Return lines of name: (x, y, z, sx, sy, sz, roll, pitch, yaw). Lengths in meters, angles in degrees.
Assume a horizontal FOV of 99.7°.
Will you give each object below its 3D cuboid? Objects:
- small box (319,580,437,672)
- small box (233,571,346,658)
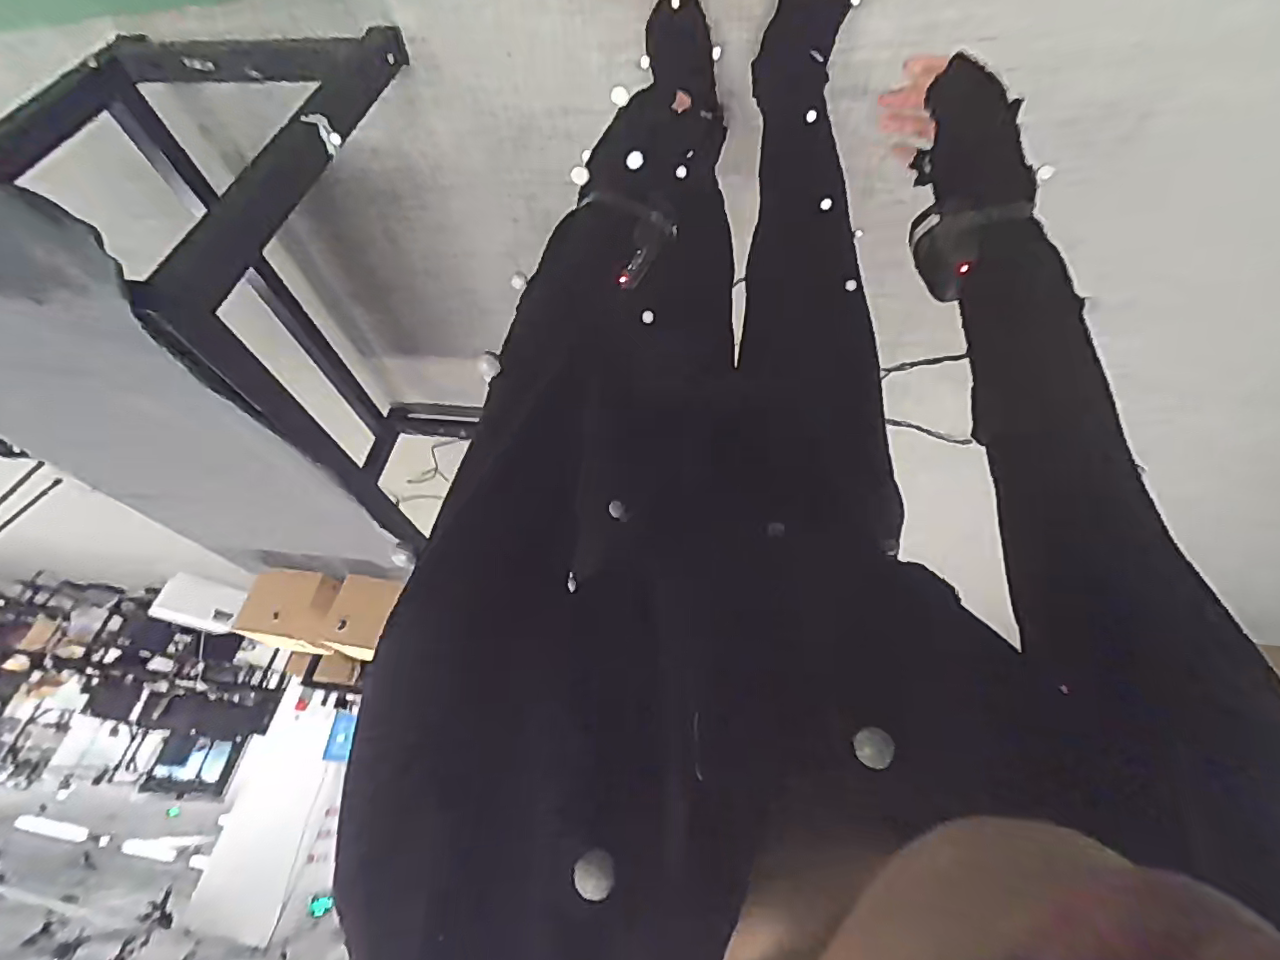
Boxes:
small box: (-0.638, 0.358, 1.339, 0.179, 0.176, 0.168, 6, 149, 8)
small box: (-0.870, 0.344, 1.384, 0.179, 0.176, 0.168, 5, 149, 9)
